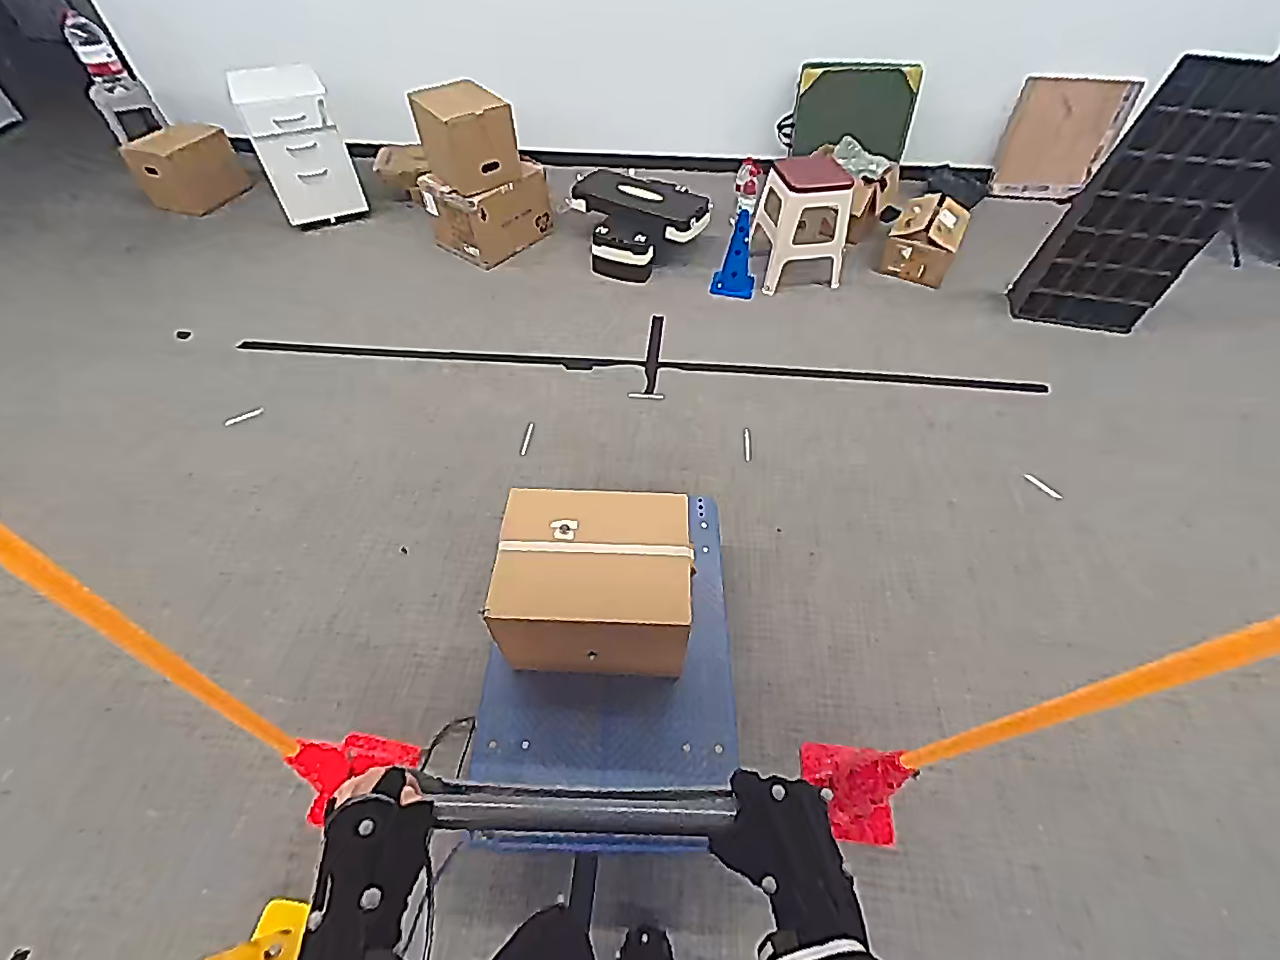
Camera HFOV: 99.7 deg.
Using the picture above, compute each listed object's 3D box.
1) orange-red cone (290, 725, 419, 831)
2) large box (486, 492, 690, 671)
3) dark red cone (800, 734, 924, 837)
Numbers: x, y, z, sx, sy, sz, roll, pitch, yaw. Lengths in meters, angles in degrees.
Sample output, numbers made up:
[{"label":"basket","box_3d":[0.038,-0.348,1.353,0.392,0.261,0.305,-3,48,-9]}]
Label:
[{"label":"orange-red cone","box_3d":[-0.646,0.593,1.150,0.198,0.360,0.199,11,51,7]},{"label":"large box","box_3d":[-0.096,0.242,1.252,0.408,0.320,0.320,2,53,1]},{"label":"dark red cone","box_3d":[0.489,0.607,1.135,0.201,0.394,0.202,6,52,1]}]
